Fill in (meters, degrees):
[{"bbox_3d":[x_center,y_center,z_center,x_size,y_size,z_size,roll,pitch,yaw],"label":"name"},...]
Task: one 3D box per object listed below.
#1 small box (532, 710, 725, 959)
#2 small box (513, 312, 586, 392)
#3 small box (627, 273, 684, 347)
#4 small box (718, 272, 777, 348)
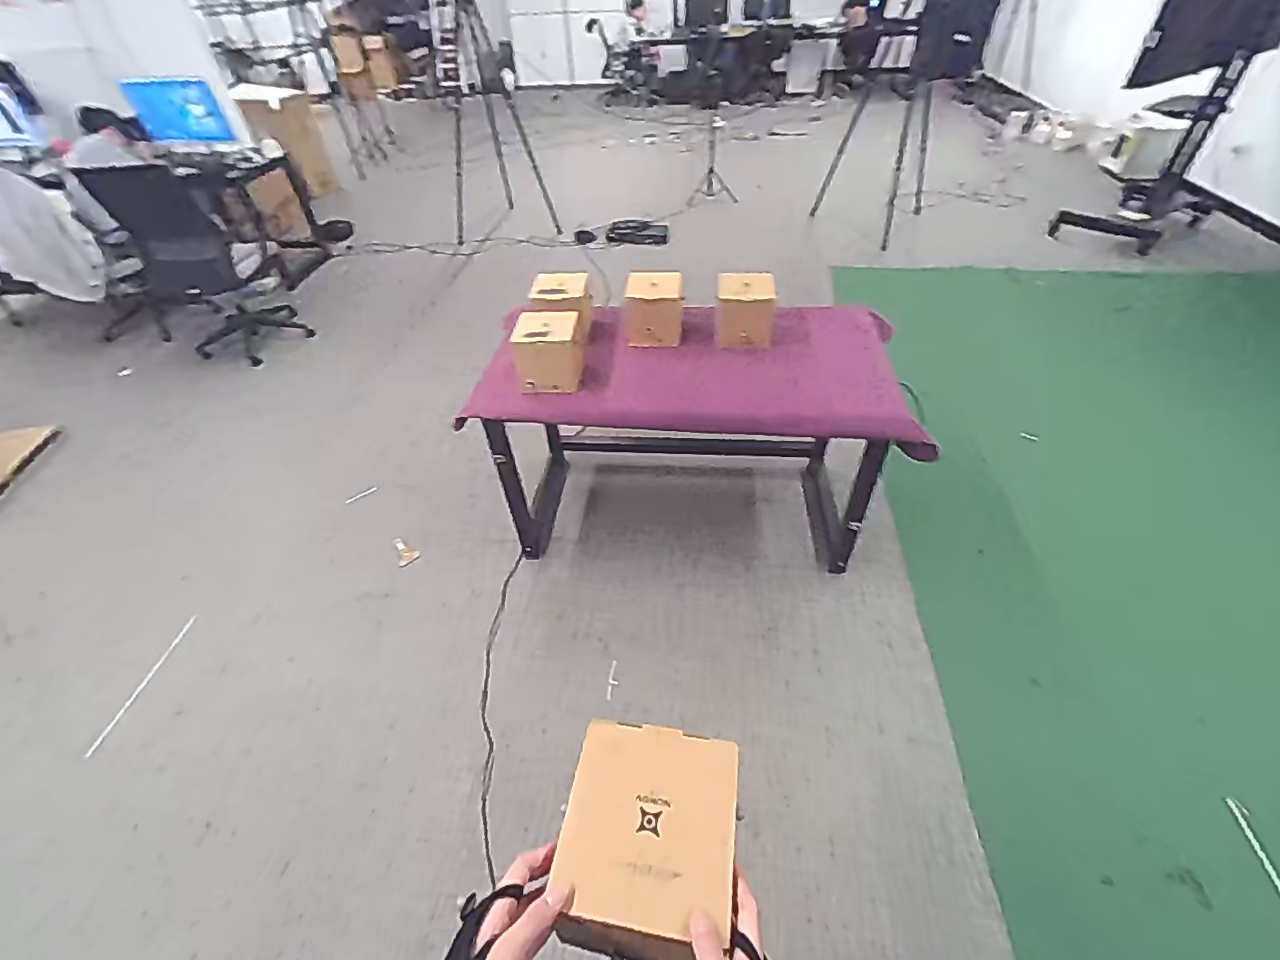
[{"bbox_3d":[-0.002,0.382,0.585,0.168,0.176,0.179,5,42,9],"label":"small box"},{"bbox_3d":[-0.256,-0.369,1.573,0.168,0.176,0.179,0,43,4],"label":"small box"},{"bbox_3d":[0.053,-0.547,1.731,0.168,0.176,0.179,1,46,6],"label":"small box"},{"bbox_3d":[0.332,-0.532,1.689,0.168,0.176,0.179,2,46,8],"label":"small box"}]
